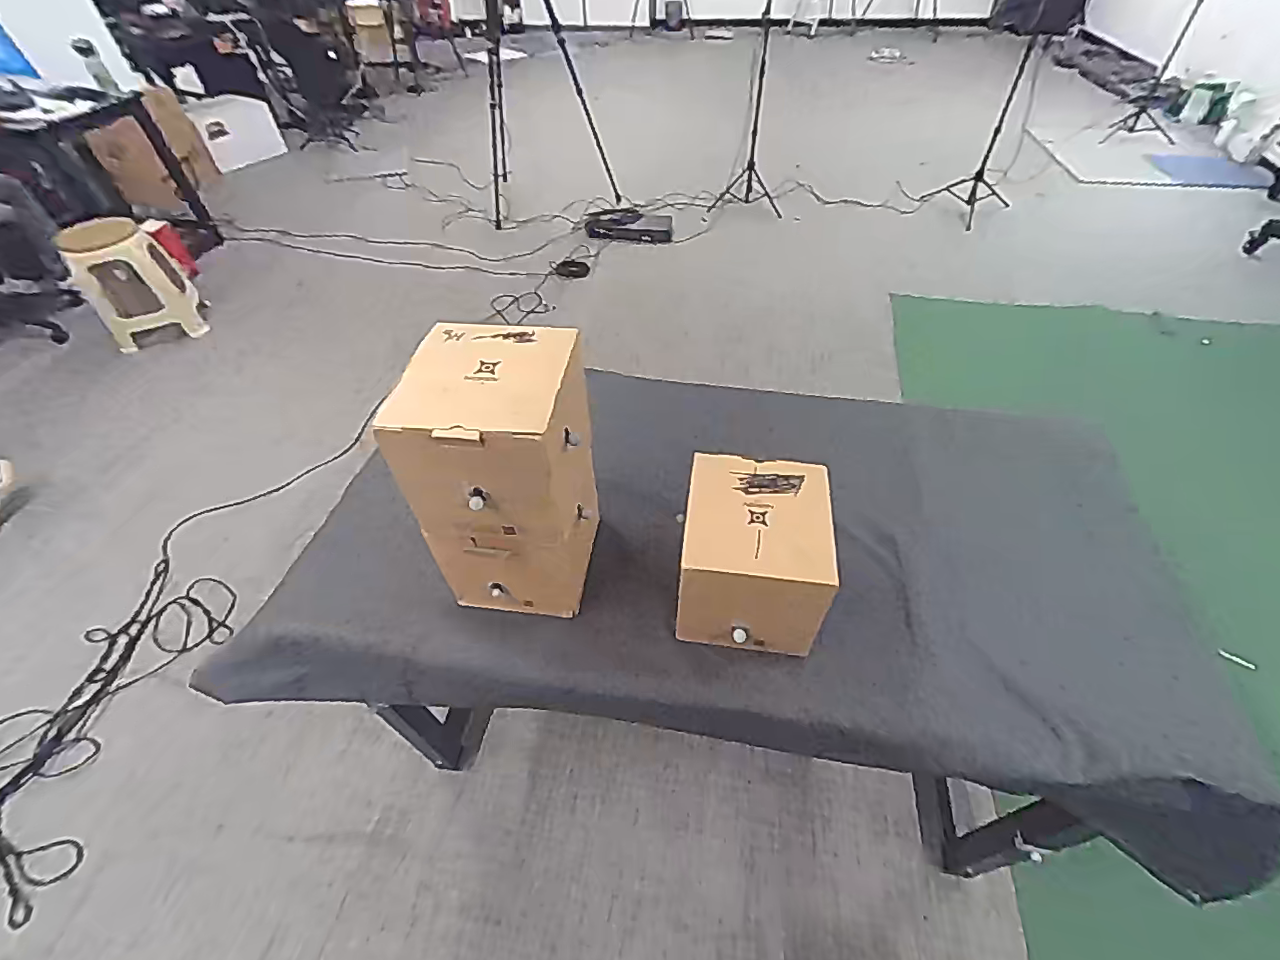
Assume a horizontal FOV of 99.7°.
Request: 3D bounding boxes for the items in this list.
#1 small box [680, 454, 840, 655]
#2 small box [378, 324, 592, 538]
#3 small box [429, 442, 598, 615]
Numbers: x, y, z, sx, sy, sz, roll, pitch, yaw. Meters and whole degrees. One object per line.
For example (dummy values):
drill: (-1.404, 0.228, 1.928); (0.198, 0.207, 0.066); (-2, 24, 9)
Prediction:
small box: (0.141, 0.093, 0.681); (0.168, 0.176, 0.179); (6, 47, 7)
small box: (-0.151, -0.052, 0.604); (0.168, 0.176, 0.179); (4, 49, 5)
small box: (-0.153, 0.056, 0.727); (0.168, 0.176, 0.179); (5, 48, 6)
